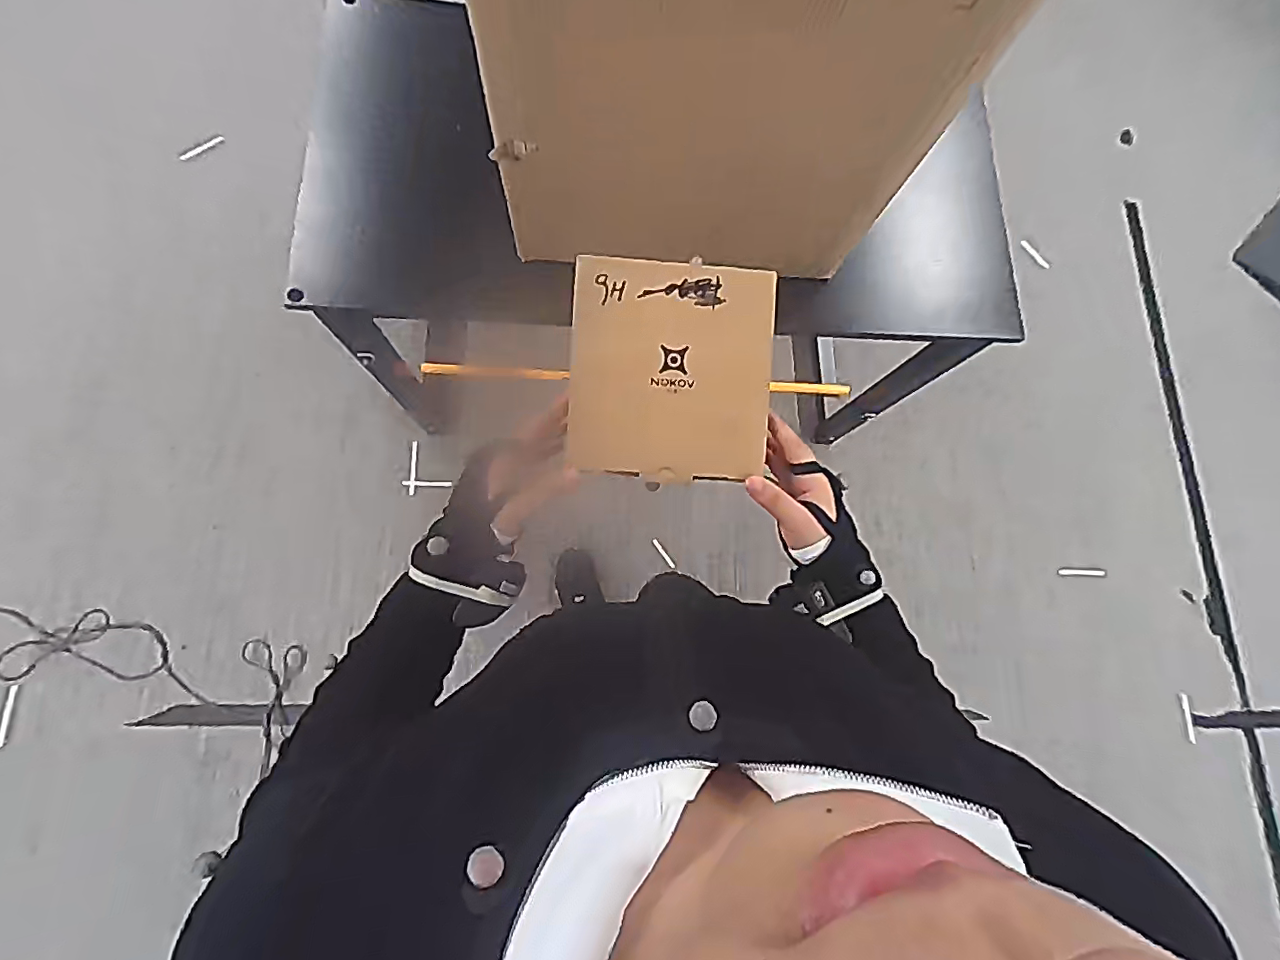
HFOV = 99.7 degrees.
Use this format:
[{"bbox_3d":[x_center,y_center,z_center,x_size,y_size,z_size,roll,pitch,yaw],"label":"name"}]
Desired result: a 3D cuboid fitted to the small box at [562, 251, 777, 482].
[{"bbox_3d":[0.020,-0.095,0.518,0.168,0.176,0.179,3,93,-4],"label":"small box"}]
